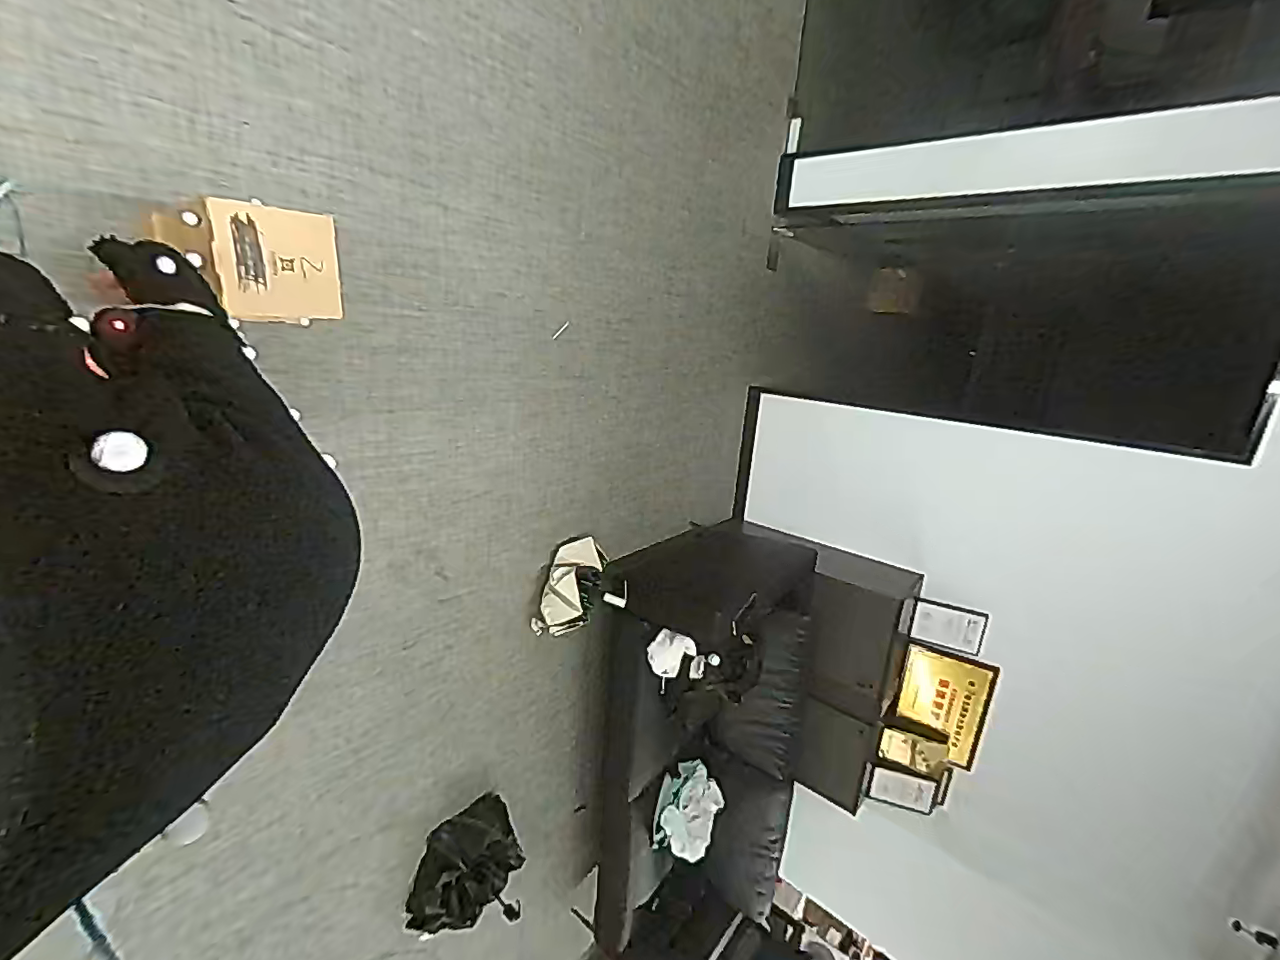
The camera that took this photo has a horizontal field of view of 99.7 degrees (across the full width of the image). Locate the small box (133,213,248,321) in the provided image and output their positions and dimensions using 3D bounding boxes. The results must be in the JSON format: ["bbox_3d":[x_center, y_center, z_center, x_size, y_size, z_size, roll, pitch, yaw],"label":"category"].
[{"bbox_3d":[-0.896,-0.426,1.099,0.168,0.176,0.179,-13,113,-50],"label":"small box"}]

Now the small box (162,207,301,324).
[{"bbox_3d":[-0.762,-0.392,1.010,0.168,0.176,0.179,-13,114,-50],"label":"small box"}]
